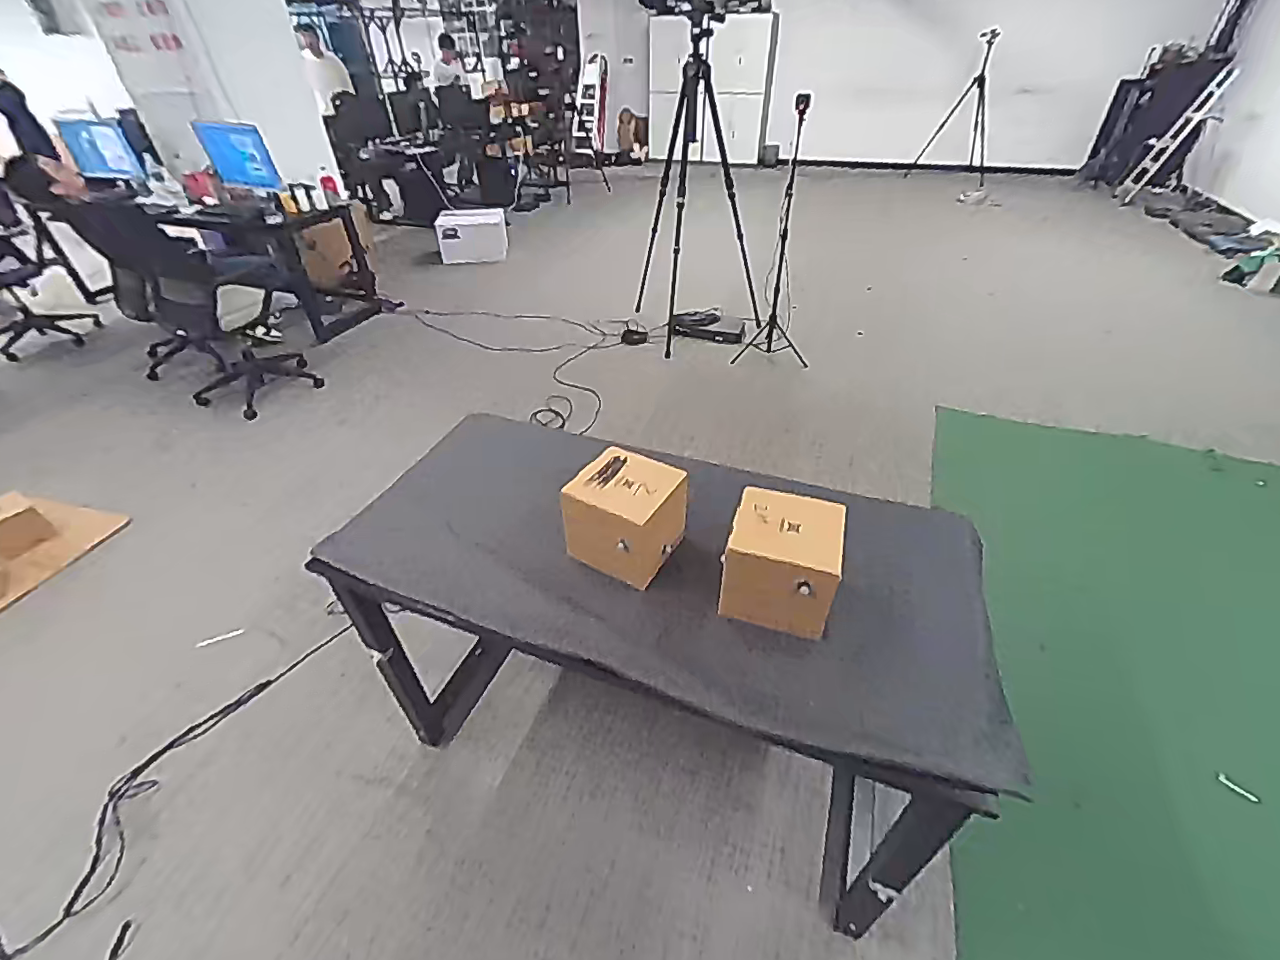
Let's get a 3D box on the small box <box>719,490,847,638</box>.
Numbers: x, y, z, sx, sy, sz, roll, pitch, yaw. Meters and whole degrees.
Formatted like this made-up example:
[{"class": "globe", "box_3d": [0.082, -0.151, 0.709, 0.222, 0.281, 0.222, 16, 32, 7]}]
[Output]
[{"class": "small box", "box_3d": [0.243, 0.145, 0.928, 0.179, 0.176, 0.168, 12, 39, 16]}]
